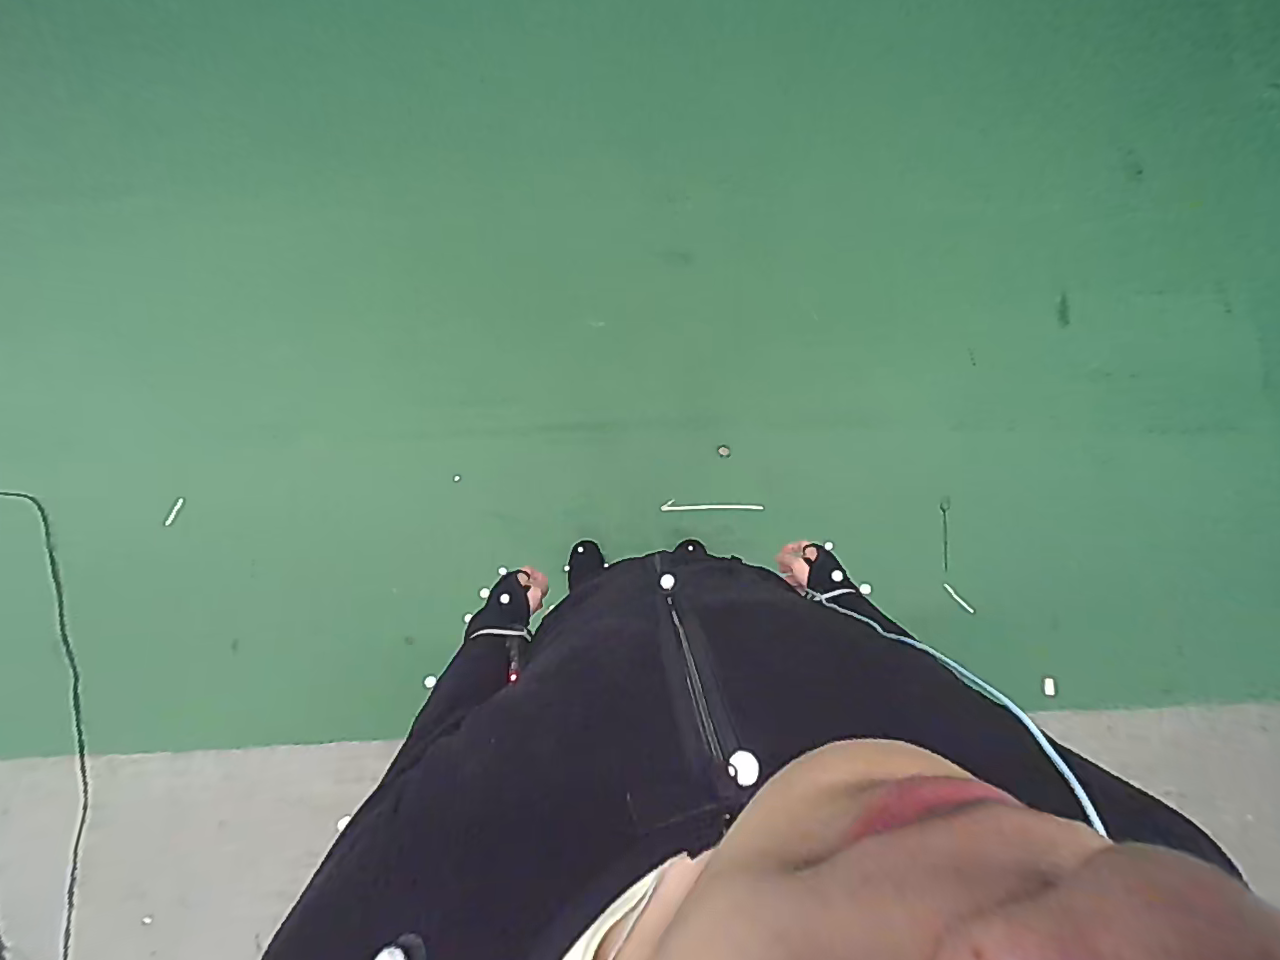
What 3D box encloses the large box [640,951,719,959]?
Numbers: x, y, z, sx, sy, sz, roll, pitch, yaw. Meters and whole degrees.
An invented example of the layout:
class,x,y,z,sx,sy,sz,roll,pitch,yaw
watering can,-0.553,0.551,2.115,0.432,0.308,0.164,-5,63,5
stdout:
class,x,y,z,sx,sy,sz,roll,pitch,yaw
large box,0.039,1.468,1.348,0.408,0.320,0.320,-3,83,-3
